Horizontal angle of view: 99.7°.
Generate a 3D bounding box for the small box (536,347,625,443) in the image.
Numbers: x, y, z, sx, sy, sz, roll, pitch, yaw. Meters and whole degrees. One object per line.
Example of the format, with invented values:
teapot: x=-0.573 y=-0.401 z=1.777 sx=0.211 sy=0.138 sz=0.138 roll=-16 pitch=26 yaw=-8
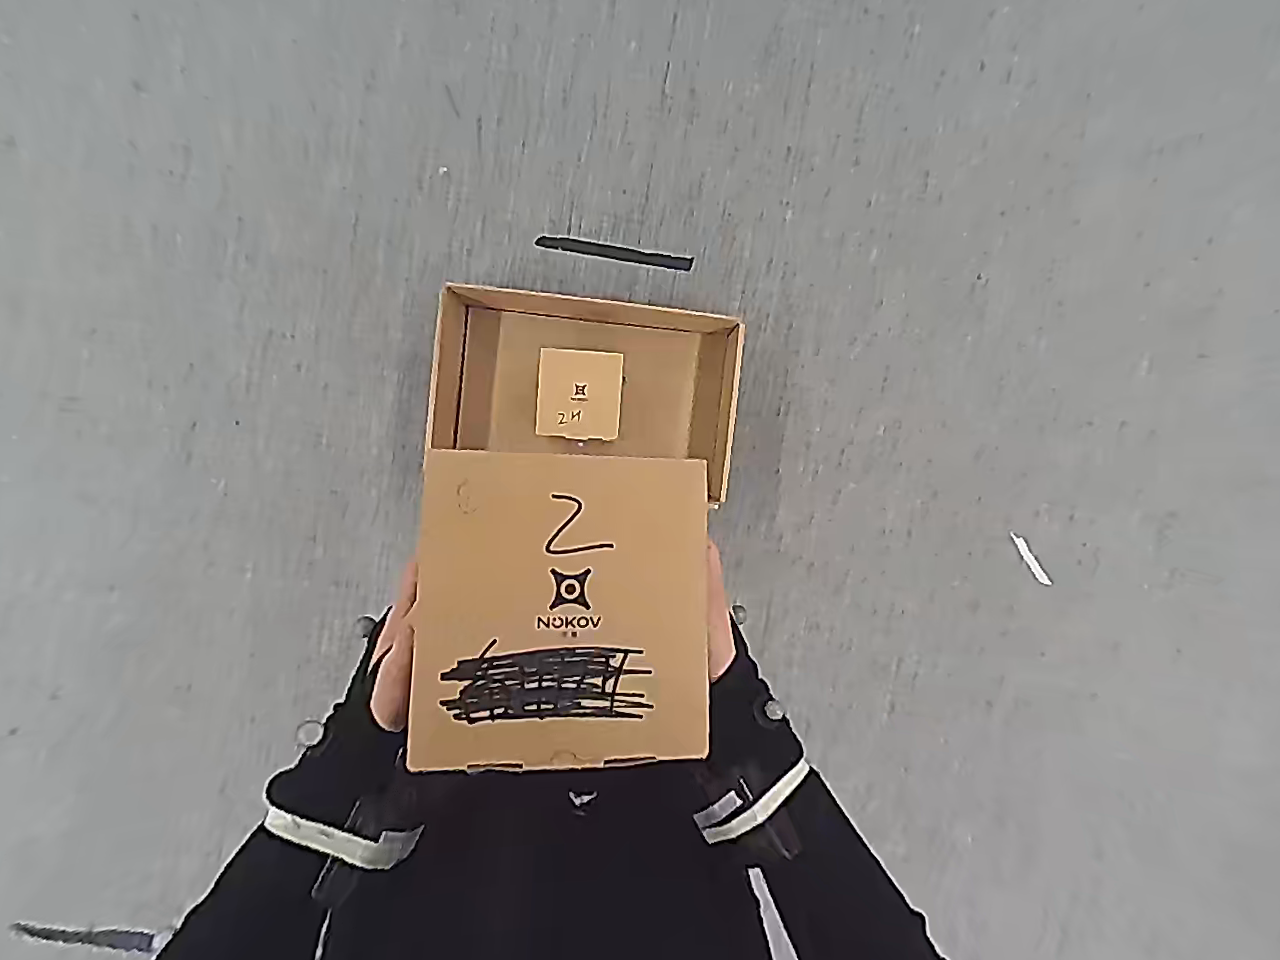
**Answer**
small box: x=-0.121 y=-0.173 z=1.148 sx=0.168 sy=0.176 sz=0.179 roll=4 pitch=93 yaw=-2
